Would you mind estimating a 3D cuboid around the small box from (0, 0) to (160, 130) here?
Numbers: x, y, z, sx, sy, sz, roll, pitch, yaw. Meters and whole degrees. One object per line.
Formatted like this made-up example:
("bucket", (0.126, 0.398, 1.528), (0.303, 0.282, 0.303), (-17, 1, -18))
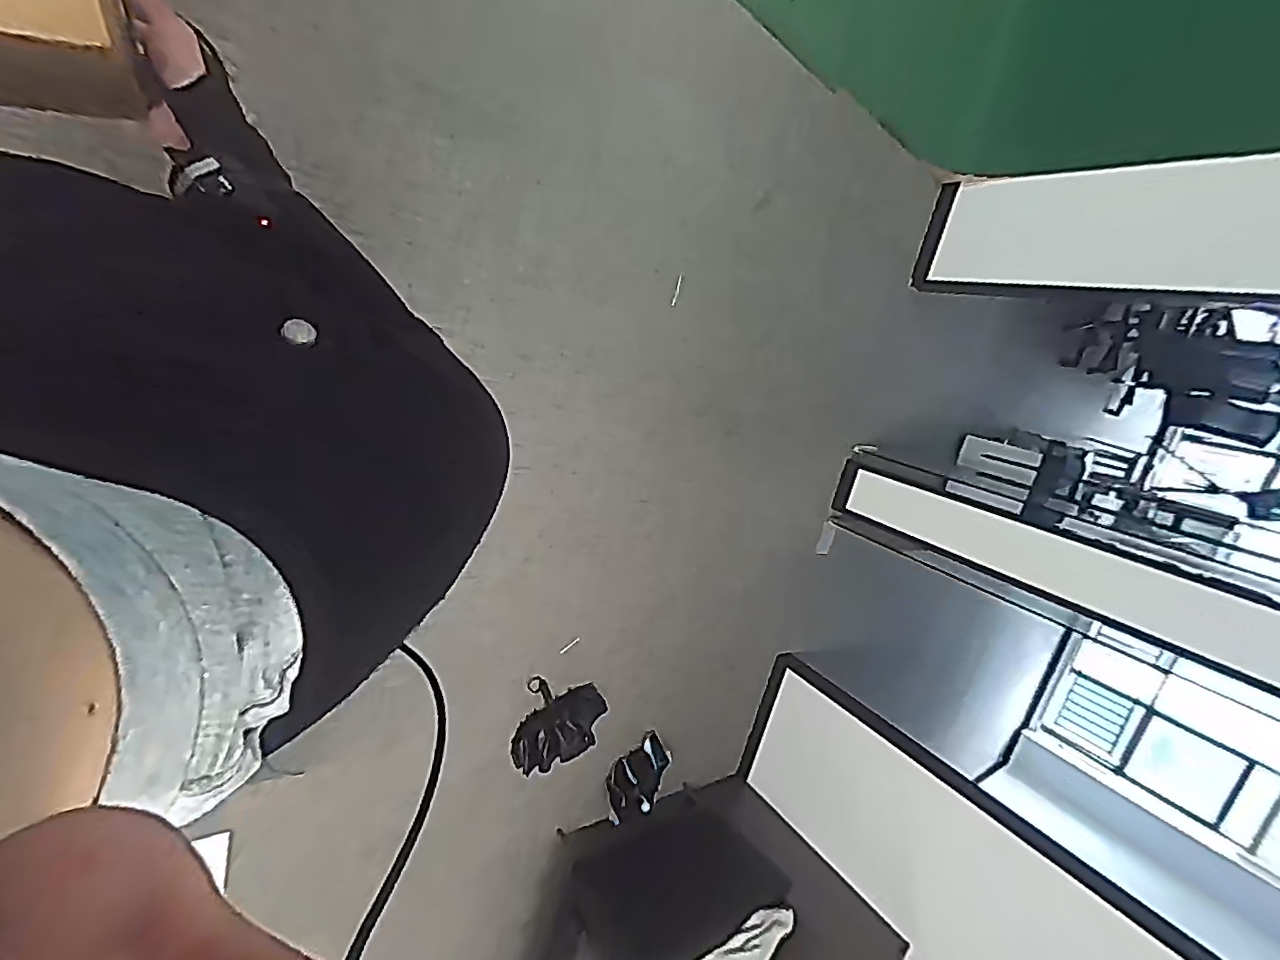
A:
("small box", (-0.443, -0.340, 0.336), (0.179, 0.176, 0.168), (-13, 112, -32))
